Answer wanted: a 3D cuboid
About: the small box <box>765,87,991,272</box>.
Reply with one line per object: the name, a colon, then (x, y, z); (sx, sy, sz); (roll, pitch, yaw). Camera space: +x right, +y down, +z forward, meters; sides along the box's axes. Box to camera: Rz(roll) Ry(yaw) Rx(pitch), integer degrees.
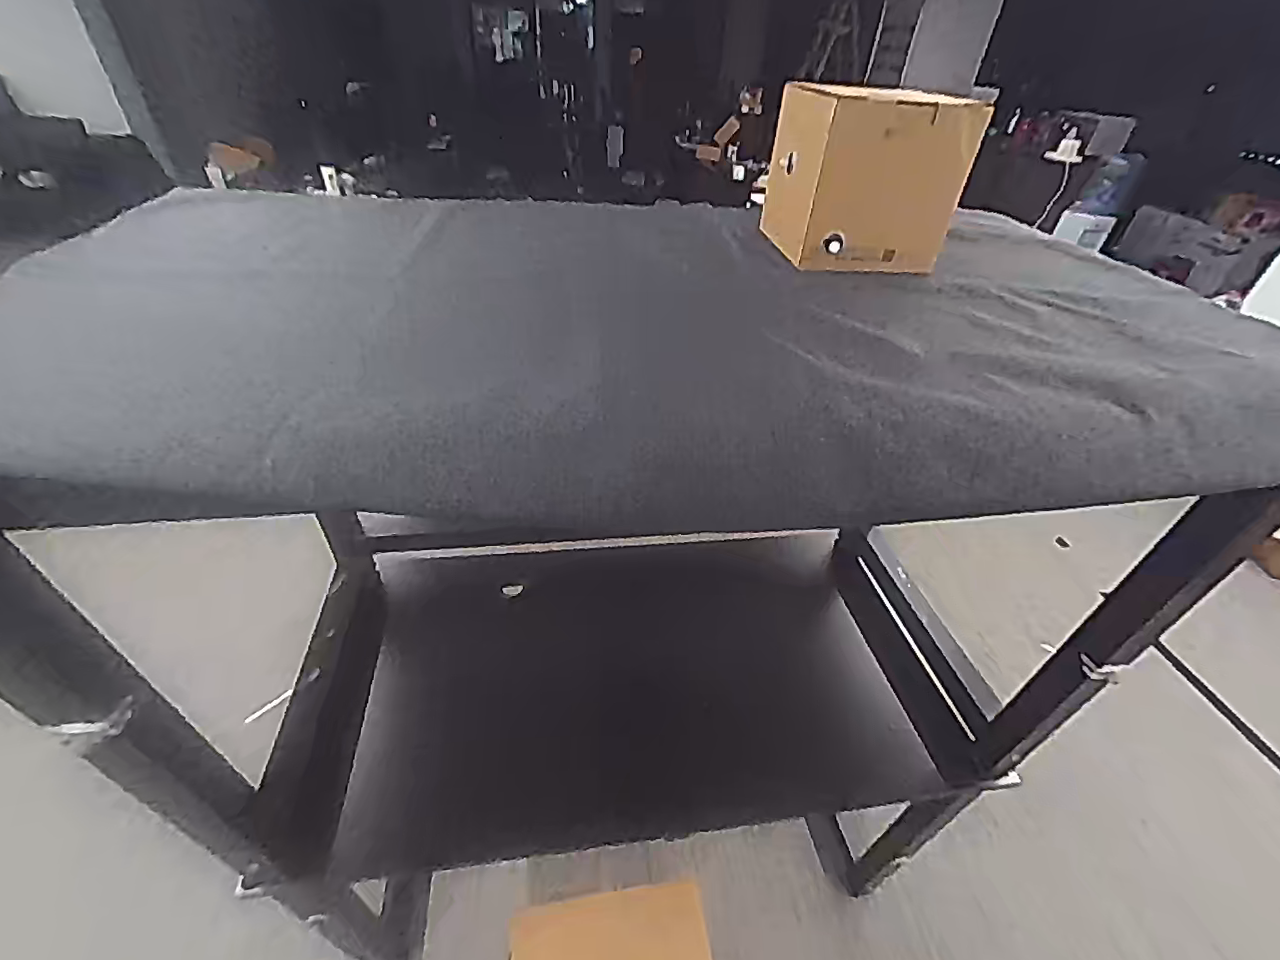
small box: (0.261, -0.358, 0.645); (0.168, 0.176, 0.179); (-1, 38, -6)
